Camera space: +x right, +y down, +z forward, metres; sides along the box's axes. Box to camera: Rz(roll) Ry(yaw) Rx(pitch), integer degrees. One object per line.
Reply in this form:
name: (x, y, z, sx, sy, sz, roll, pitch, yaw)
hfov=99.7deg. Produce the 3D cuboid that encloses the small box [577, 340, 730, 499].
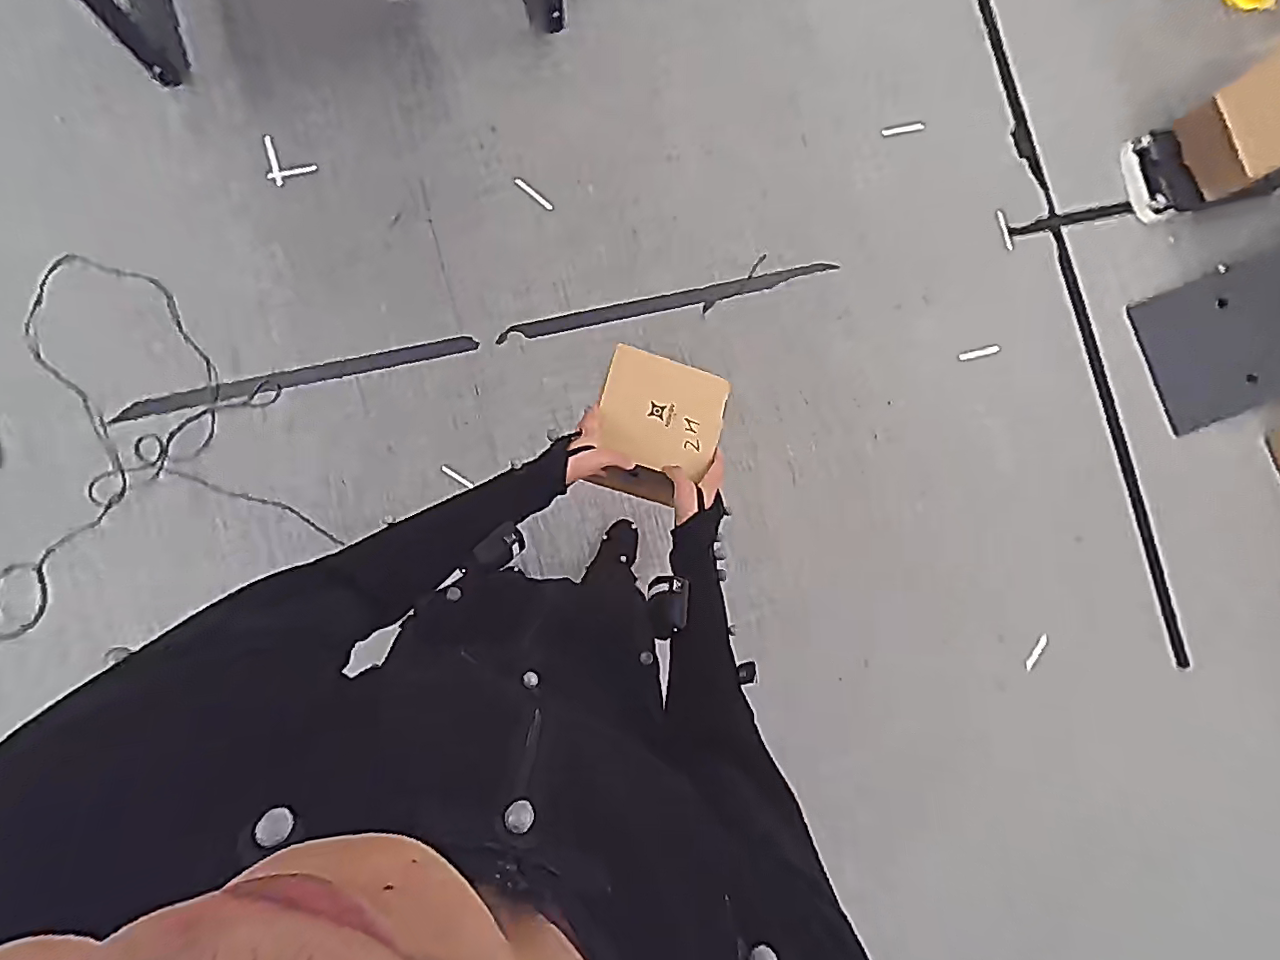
small box: (0.011, -0.079, 0.817, 0.179, 0.176, 0.168, 17, 75, -9)
